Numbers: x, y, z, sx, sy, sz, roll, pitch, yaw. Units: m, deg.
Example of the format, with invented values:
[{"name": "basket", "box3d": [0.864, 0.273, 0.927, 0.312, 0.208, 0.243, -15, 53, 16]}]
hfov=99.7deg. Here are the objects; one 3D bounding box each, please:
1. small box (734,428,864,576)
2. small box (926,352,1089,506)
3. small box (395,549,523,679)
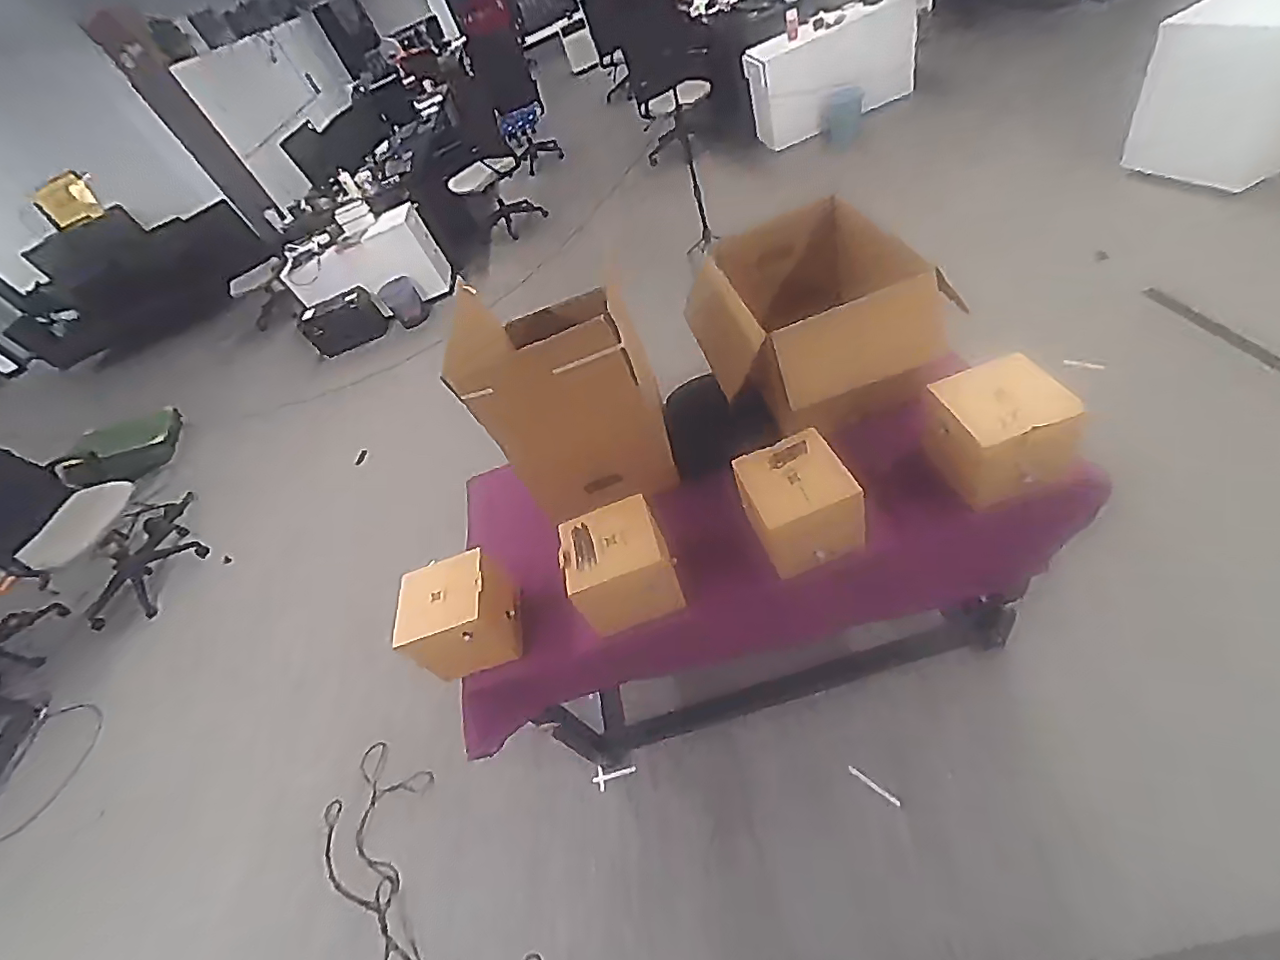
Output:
[{"name": "small box", "box3d": [0.290, 0.043, 0.988, 0.168, 0.176, 0.179, -24, 46, 4]}, {"name": "small box", "box3d": [0.623, -0.086, 0.948, 0.168, 0.176, 0.179, -21, 45, 8]}, {"name": "small box", "box3d": [-0.349, 0.271, 1.074, 0.179, 0.176, 0.168, -20, 45, 5]}]
